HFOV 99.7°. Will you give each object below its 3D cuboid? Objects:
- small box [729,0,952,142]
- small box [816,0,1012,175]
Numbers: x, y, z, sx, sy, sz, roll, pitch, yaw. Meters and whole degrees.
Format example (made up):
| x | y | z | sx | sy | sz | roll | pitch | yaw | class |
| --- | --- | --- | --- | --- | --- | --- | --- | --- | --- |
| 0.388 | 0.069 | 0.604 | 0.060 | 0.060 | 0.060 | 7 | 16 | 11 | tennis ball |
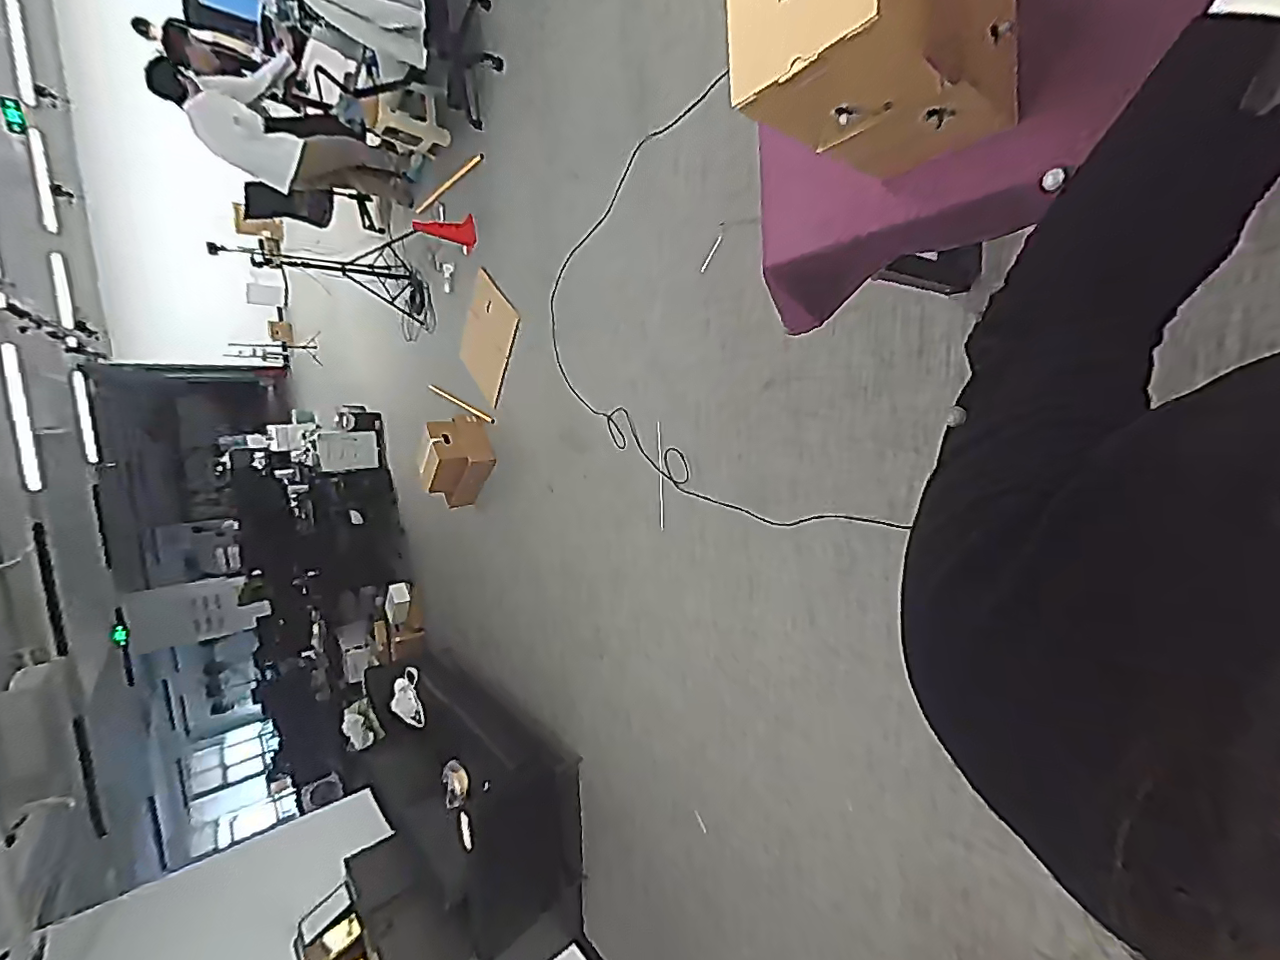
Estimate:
| x | y | z | sx | sy | sz | roll | pitch | yaw | class |
| --- | --- | --- | --- | --- | --- | --- | --- | --- | --- |
| 0.212 | -0.500 | 0.572 | 0.168 | 0.176 | 0.179 | 3 | 100 | 50 | small box |
| 0.340 | -0.513 | 0.673 | 0.179 | 0.176 | 0.168 | 3 | 98 | 50 | small box |
